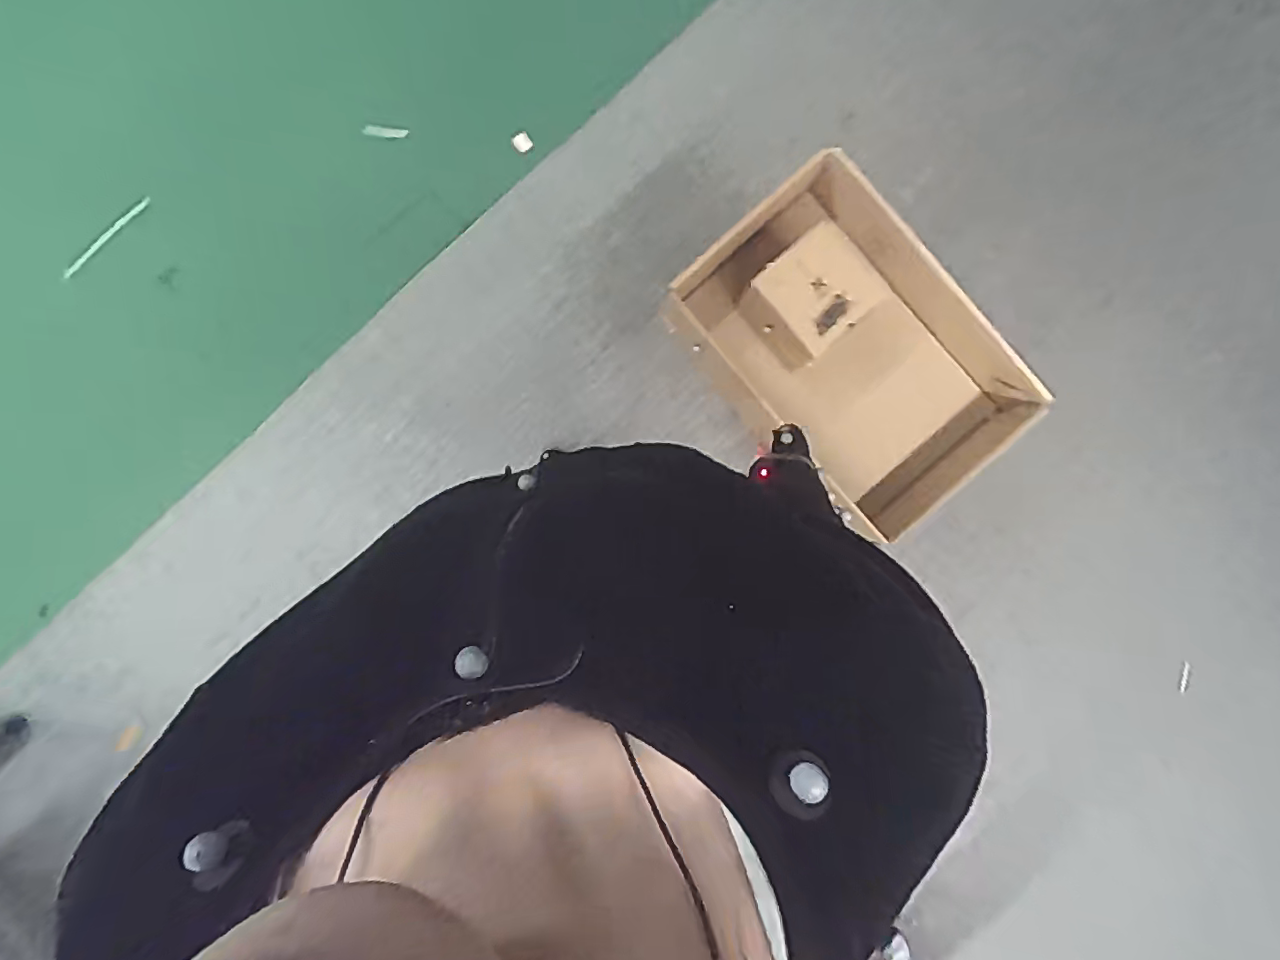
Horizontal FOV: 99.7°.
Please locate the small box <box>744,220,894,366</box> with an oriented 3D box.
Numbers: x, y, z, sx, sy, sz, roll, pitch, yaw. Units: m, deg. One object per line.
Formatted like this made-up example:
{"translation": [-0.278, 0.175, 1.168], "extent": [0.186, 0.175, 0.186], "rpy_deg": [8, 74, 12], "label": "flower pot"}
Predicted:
{"translation": [0.317, -0.328, 0.993], "extent": [0.168, 0.176, 0.179], "rpy_deg": [-40, 91, 2], "label": "small box"}
